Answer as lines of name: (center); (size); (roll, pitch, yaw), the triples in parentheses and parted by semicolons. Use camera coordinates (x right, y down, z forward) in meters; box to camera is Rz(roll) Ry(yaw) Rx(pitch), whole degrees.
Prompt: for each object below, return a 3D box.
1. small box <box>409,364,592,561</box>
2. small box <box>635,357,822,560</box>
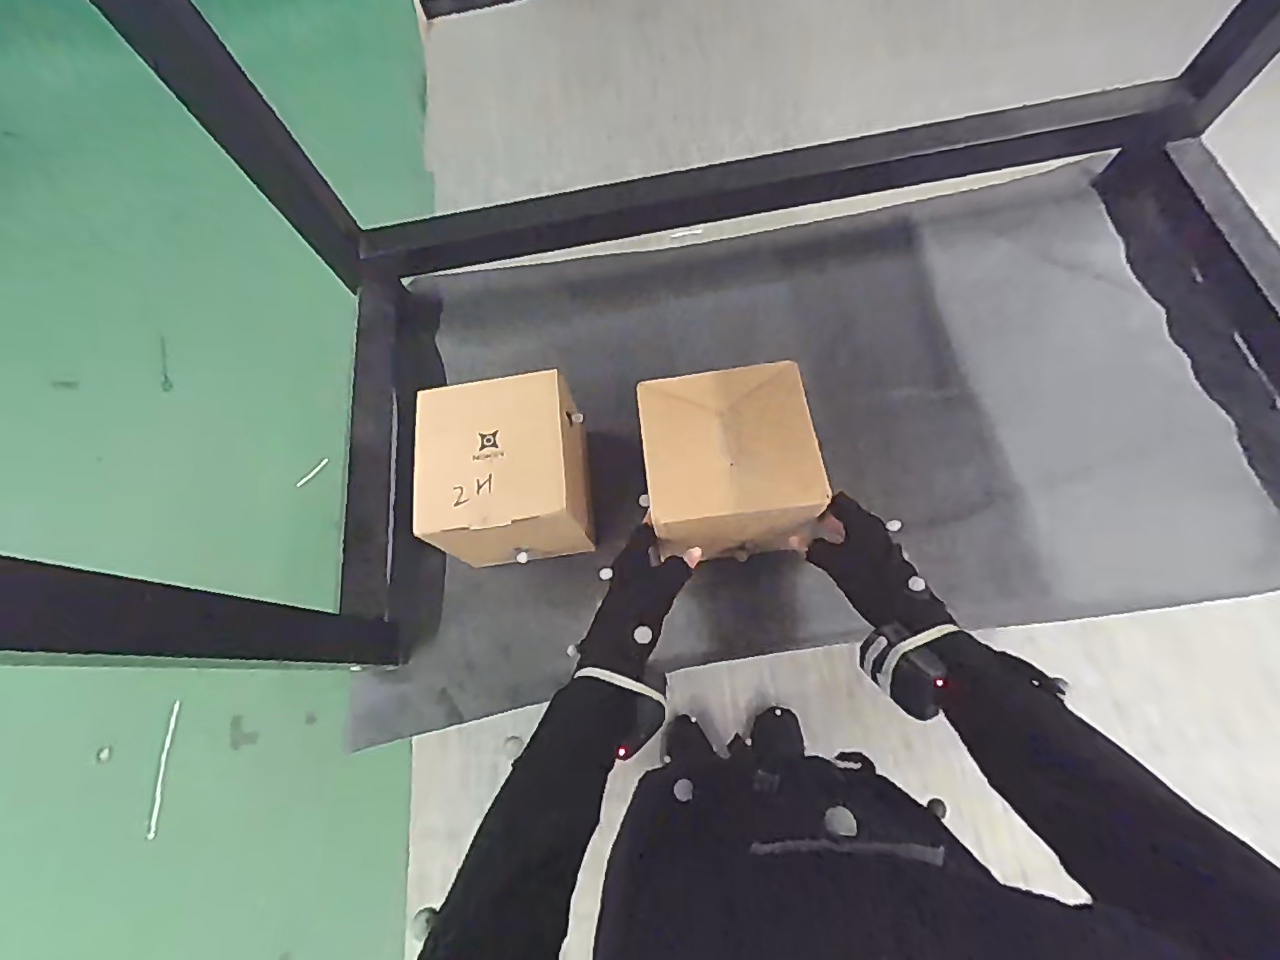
small box: (-0.158, -0.013, 0.660); (0.168, 0.176, 0.179); (-9, 68, 4)
small box: (0.092, -0.020, 0.622); (0.179, 0.176, 0.168); (-8, 63, 4)
